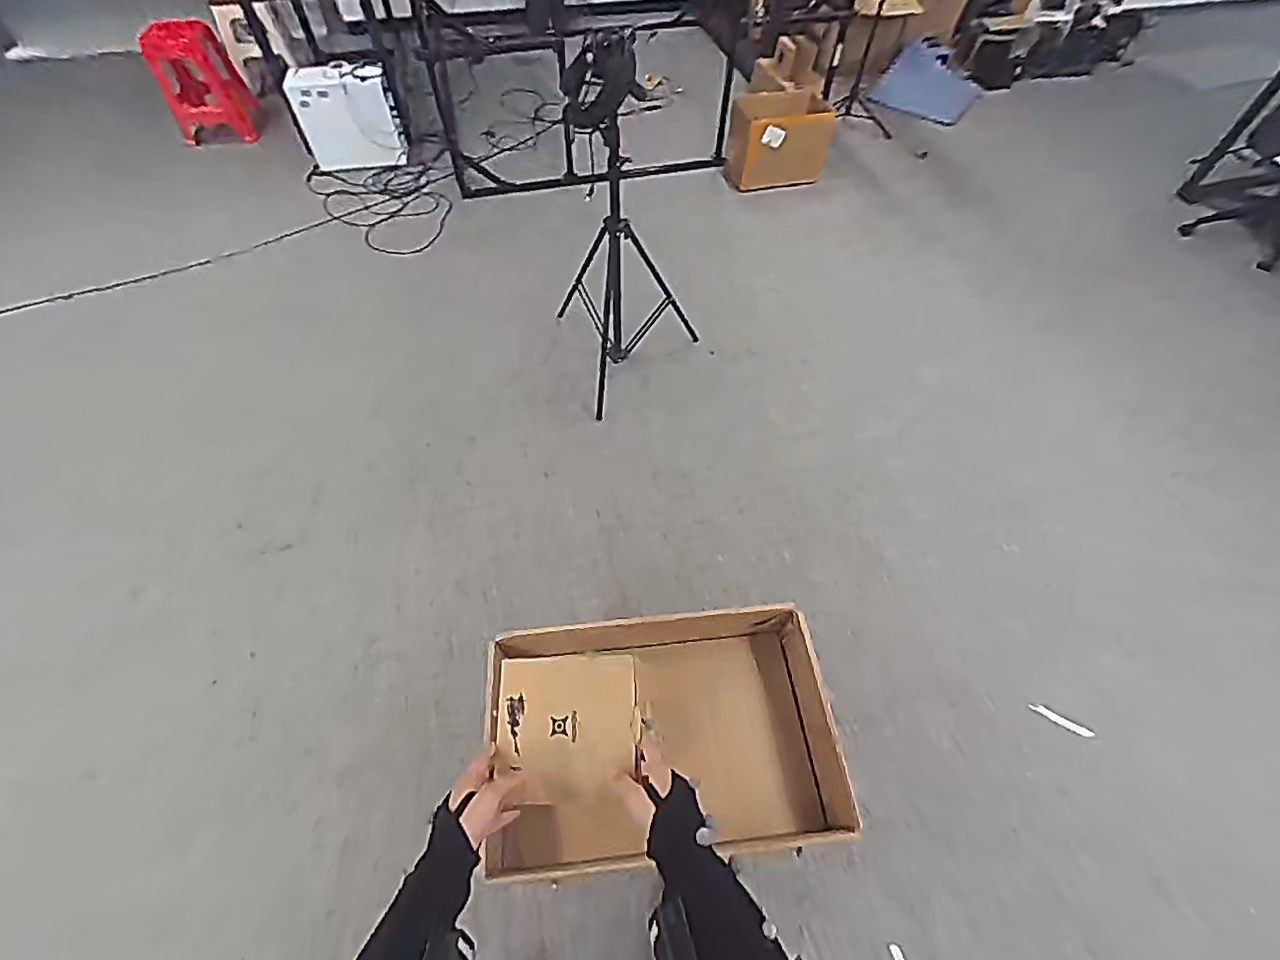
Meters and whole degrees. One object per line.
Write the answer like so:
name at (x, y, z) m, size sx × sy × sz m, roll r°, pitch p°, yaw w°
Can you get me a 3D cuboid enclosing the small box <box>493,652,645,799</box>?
small box at (-0.082, 0.324, 0.731) m, size 0.179 × 0.176 × 0.168 m, roll -2°, pitch 67°, yaw 3°
